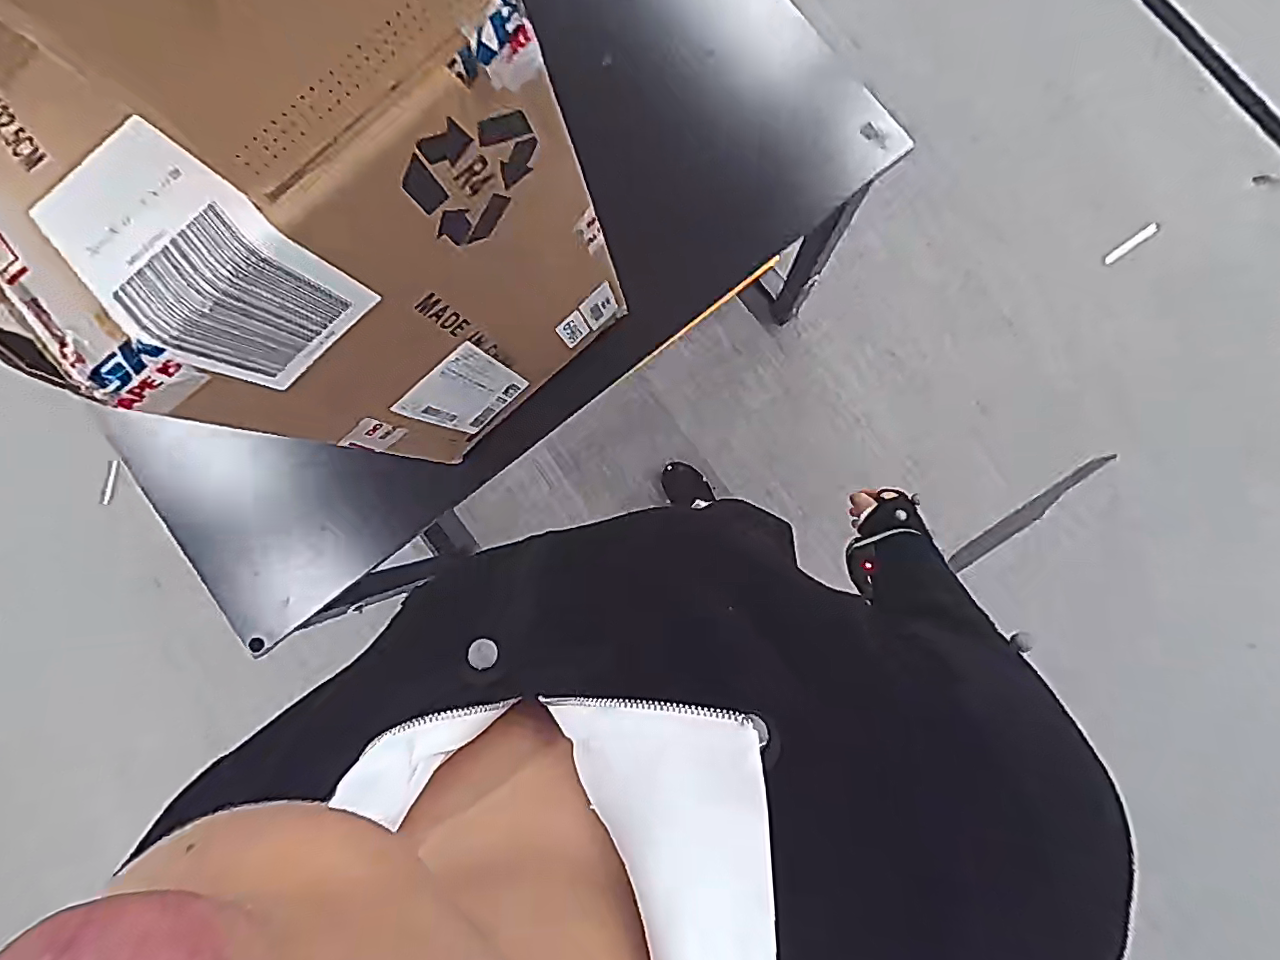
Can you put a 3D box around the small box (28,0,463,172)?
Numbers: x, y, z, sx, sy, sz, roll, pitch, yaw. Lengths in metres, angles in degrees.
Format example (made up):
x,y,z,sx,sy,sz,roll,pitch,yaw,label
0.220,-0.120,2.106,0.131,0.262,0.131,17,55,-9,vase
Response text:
x,y,z,sx,sy,sz,roll,pitch,yaw,label
-0.202,-0.280,0.225,0.179,0.176,0.168,-41,87,2,small box
